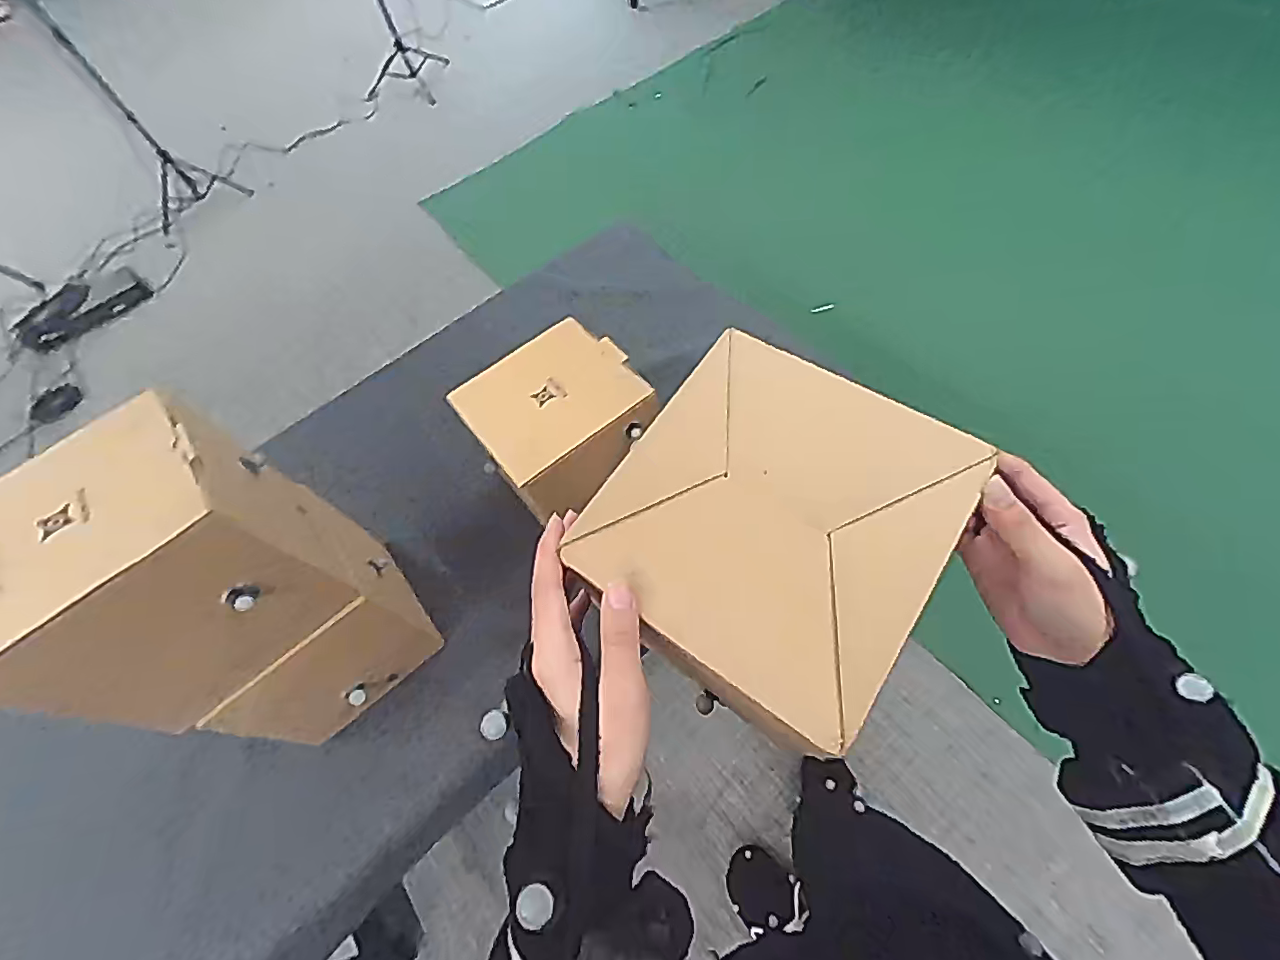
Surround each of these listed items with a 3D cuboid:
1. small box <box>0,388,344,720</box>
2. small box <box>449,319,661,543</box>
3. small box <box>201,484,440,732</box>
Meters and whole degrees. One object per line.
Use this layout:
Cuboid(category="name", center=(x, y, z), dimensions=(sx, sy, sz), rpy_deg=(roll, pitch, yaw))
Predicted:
Cuboid(category="small box", center=(-0.382, 0.066, 0.445), dimensions=(0.179, 0.176, 0.168), rpy_deg=(-41, 60, -14))
Cuboid(category="small box", center=(-0.091, -0.053, 0.662), dimensions=(0.179, 0.176, 0.168), rpy_deg=(-37, 60, -14))
Cuboid(category="small box", center=(-0.354, 0.144, 0.585), dimensions=(0.168, 0.176, 0.179), rpy_deg=(-39, 62, -14))
